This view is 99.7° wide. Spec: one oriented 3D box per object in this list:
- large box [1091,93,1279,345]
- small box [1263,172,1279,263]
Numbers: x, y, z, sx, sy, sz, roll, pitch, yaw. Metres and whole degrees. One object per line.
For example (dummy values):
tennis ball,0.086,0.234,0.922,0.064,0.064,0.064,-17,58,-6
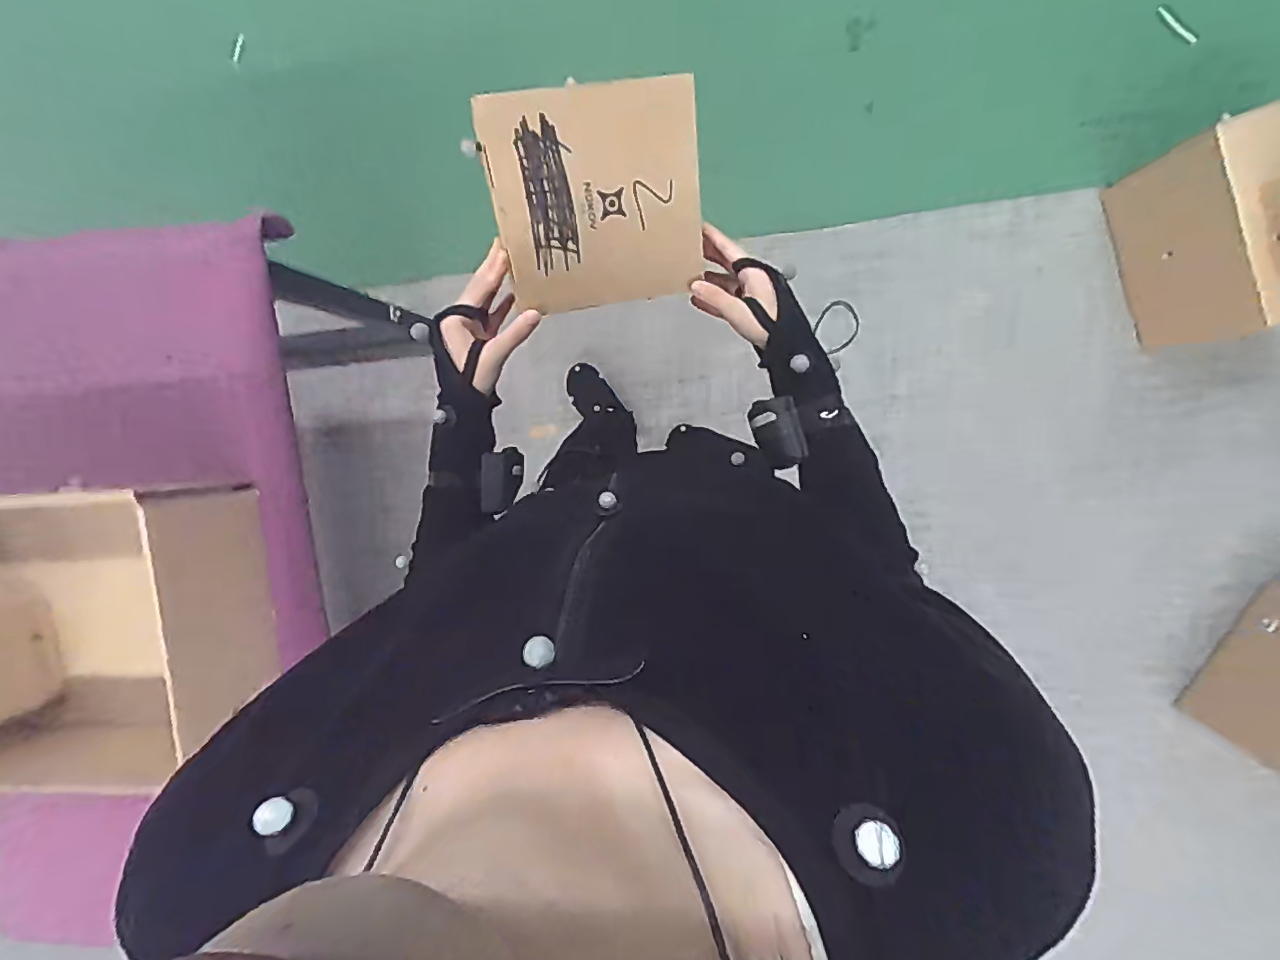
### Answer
large box,1.290,-0.553,1.165,0.320,0.320,0.408,-19,93,7
small box,1.243,-0.492,0.928,0.179,0.176,0.168,-13,95,8
